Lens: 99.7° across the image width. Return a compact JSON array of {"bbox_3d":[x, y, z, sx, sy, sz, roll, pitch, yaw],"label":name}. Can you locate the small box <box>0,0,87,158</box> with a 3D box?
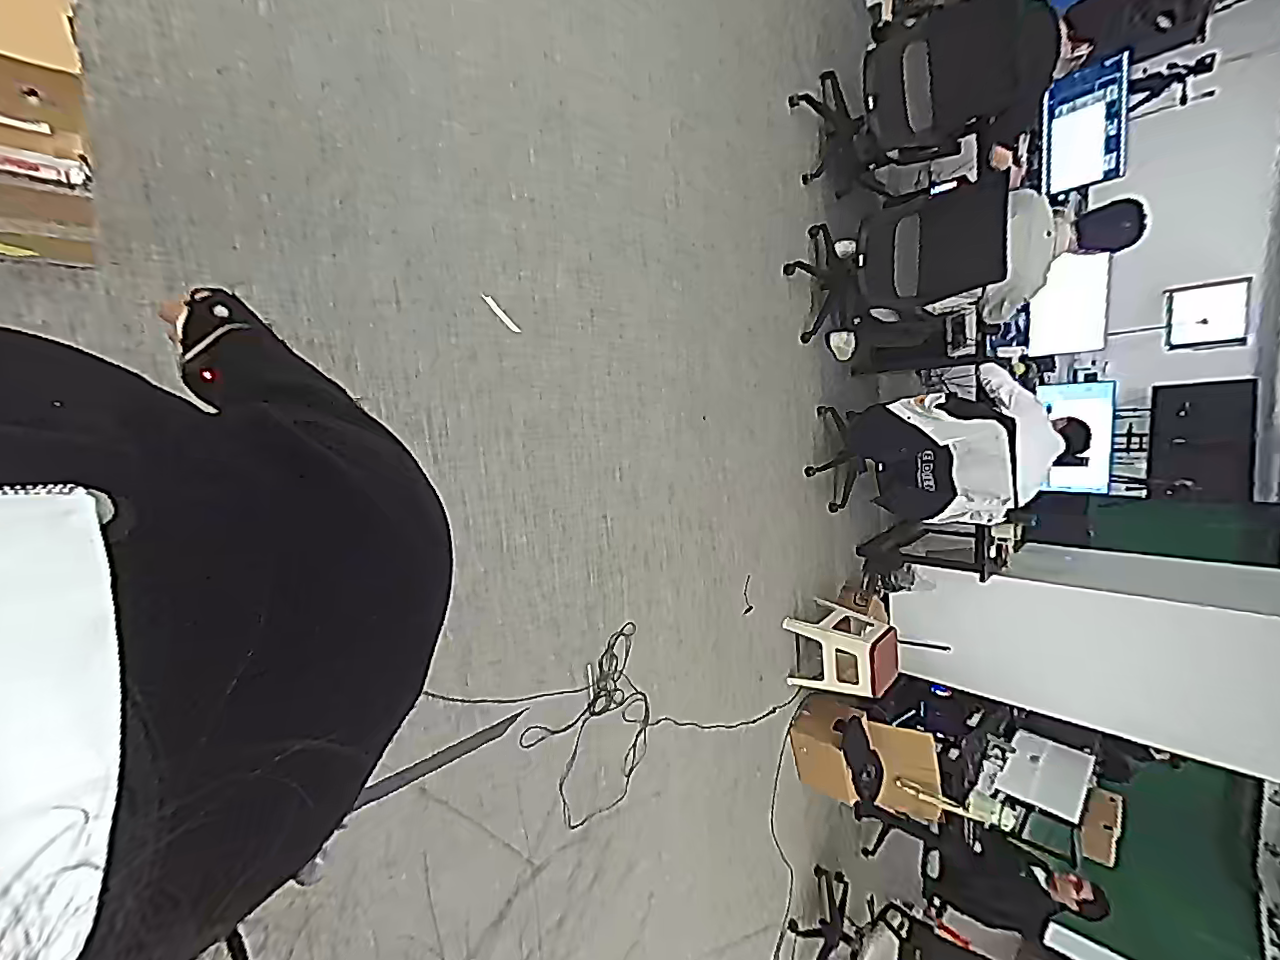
[{"bbox_3d":[-0.759,-0.486,0.602,0.179,0.176,0.168,-15,103,-44],"label":"small box"}]
